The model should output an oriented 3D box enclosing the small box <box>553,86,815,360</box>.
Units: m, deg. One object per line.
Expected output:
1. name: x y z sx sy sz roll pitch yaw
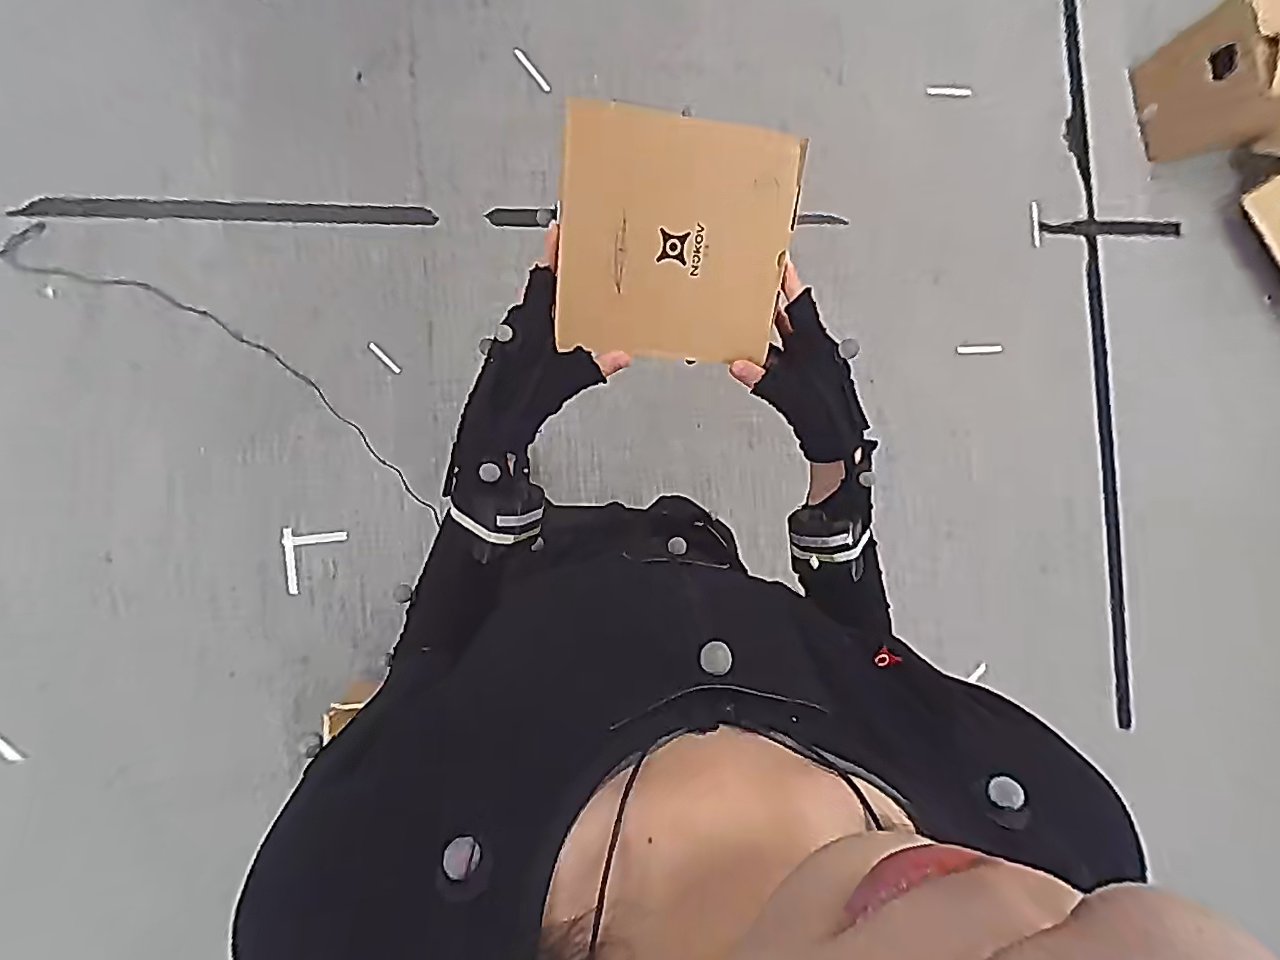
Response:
1. small box: 0.018 -0.205 0.464 0.179 0.176 0.168 2 111 -10
